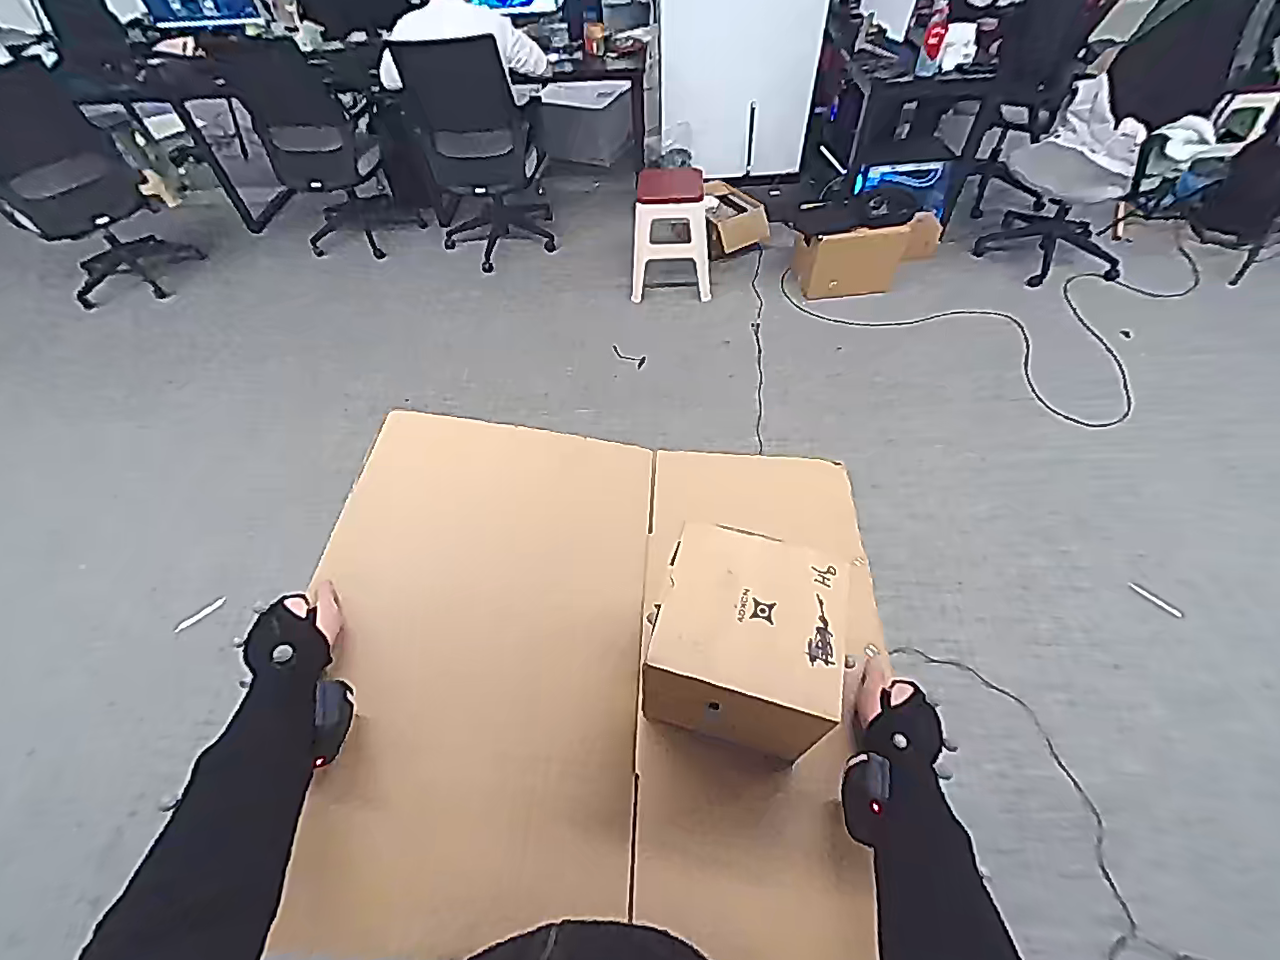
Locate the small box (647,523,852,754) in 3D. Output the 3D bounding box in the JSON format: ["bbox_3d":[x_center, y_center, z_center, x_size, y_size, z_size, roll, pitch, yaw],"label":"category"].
[{"bbox_3d":[0.113,0.175,0.587,0.179,0.176,0.168,13,53,11],"label":"small box"}]
